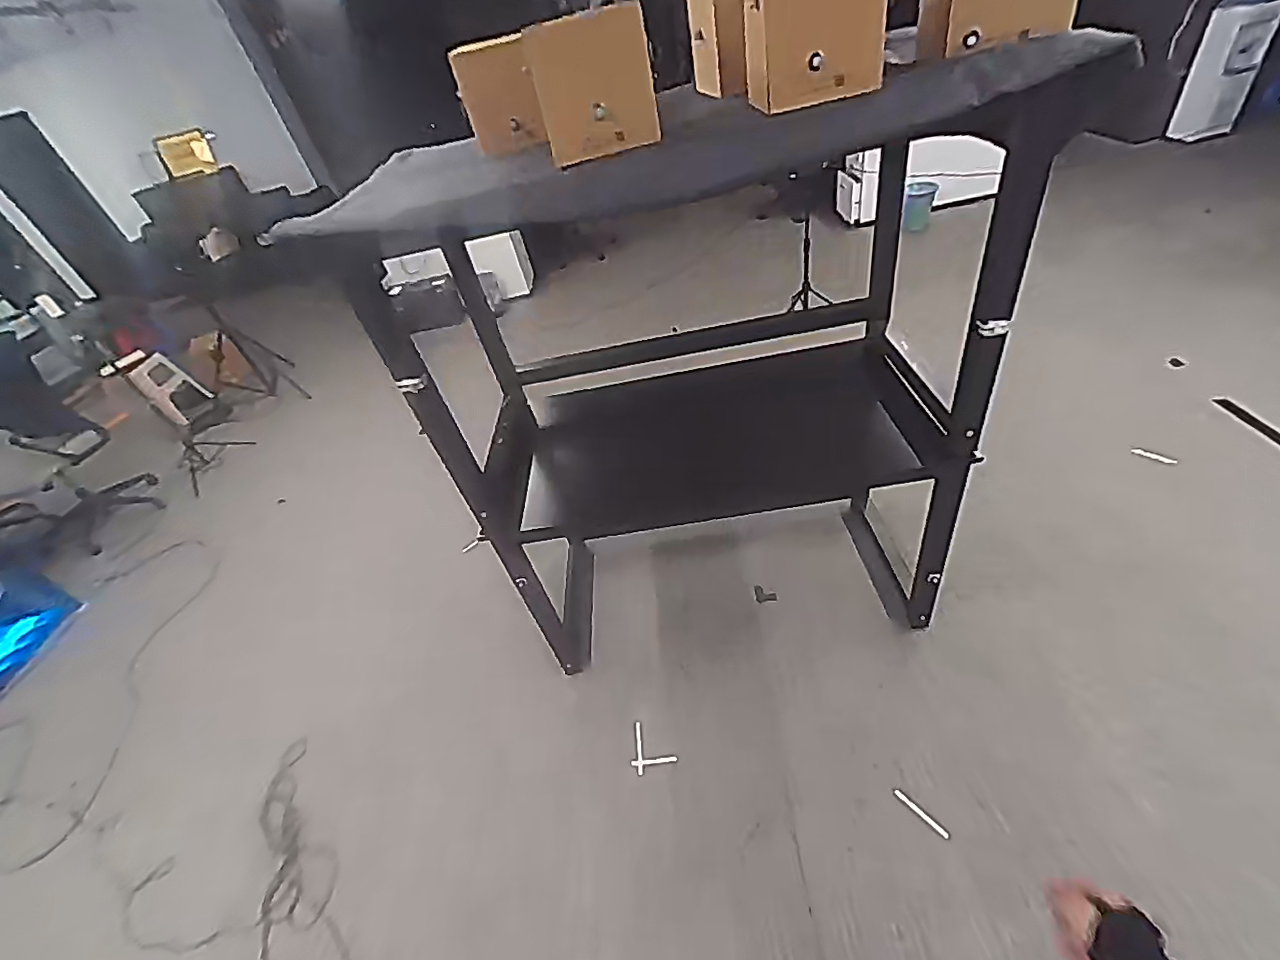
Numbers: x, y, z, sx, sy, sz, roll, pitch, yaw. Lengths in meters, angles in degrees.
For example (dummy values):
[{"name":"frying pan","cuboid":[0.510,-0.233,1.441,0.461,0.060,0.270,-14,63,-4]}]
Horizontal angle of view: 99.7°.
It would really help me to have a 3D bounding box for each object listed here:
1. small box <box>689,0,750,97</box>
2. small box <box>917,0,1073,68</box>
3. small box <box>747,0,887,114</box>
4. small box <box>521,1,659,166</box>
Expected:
[{"name":"small box","cuboid":[0.198,-0.859,1.043,0.168,0.176,0.179,-16,41,-1]},{"name":"small box","cuboid":[0.525,-0.734,0.801,0.168,0.176,0.179,-4,40,13]},{"name":"small box","cuboid":[0.256,-0.671,0.816,0.168,0.176,0.179,-10,40,6]},{"name":"small box","cuboid":[-0.072,-0.600,0.831,0.168,0.176,0.179,-14,39,2]}]
